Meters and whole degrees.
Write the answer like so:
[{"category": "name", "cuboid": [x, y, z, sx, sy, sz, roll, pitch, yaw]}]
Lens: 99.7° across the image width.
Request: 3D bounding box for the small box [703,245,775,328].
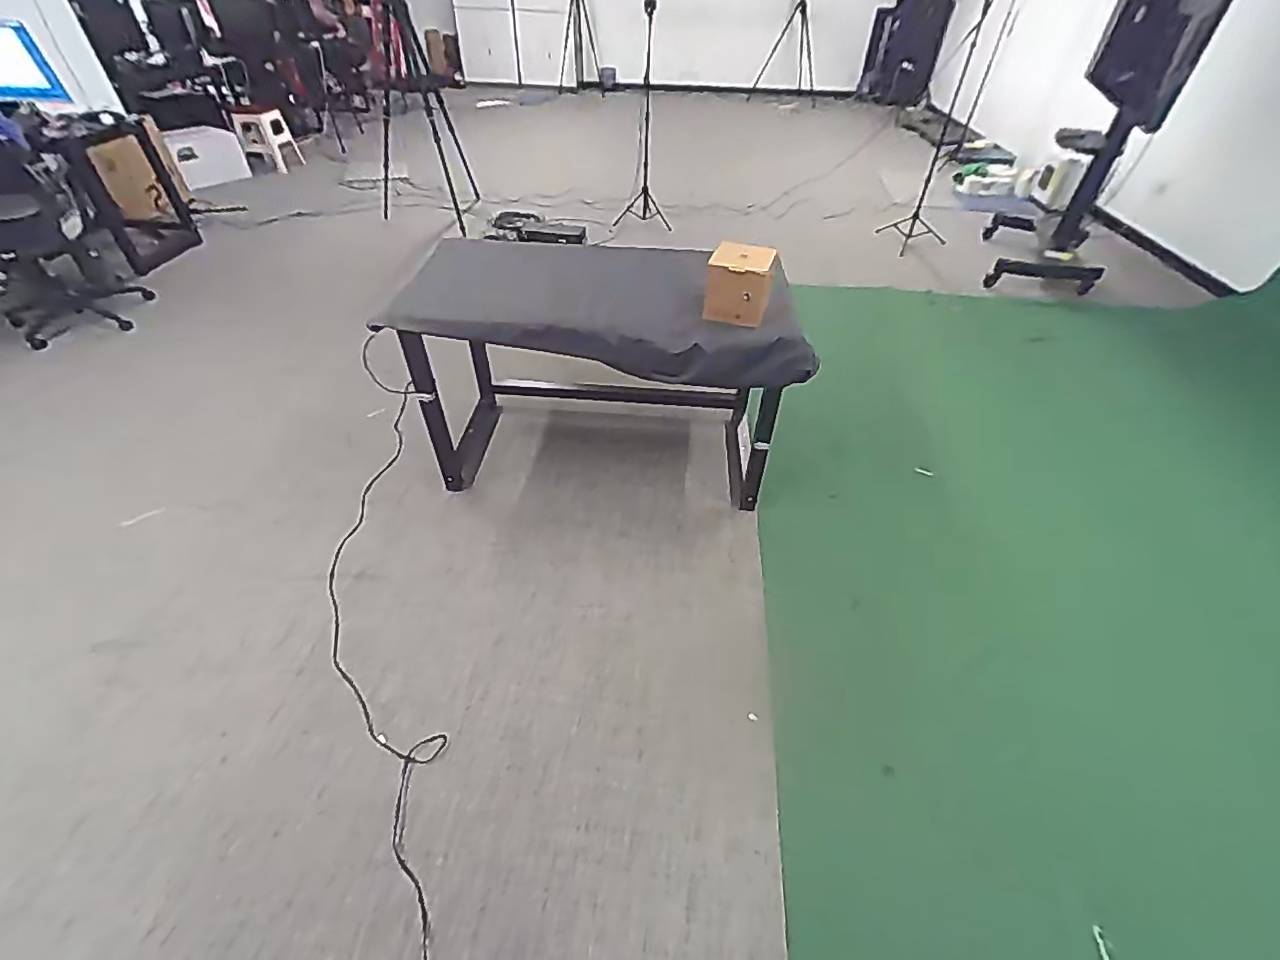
[{"category": "small box", "cuboid": [0.284, -0.562, 1.570, 0.168, 0.176, 0.179, 14, 43, 12]}]
